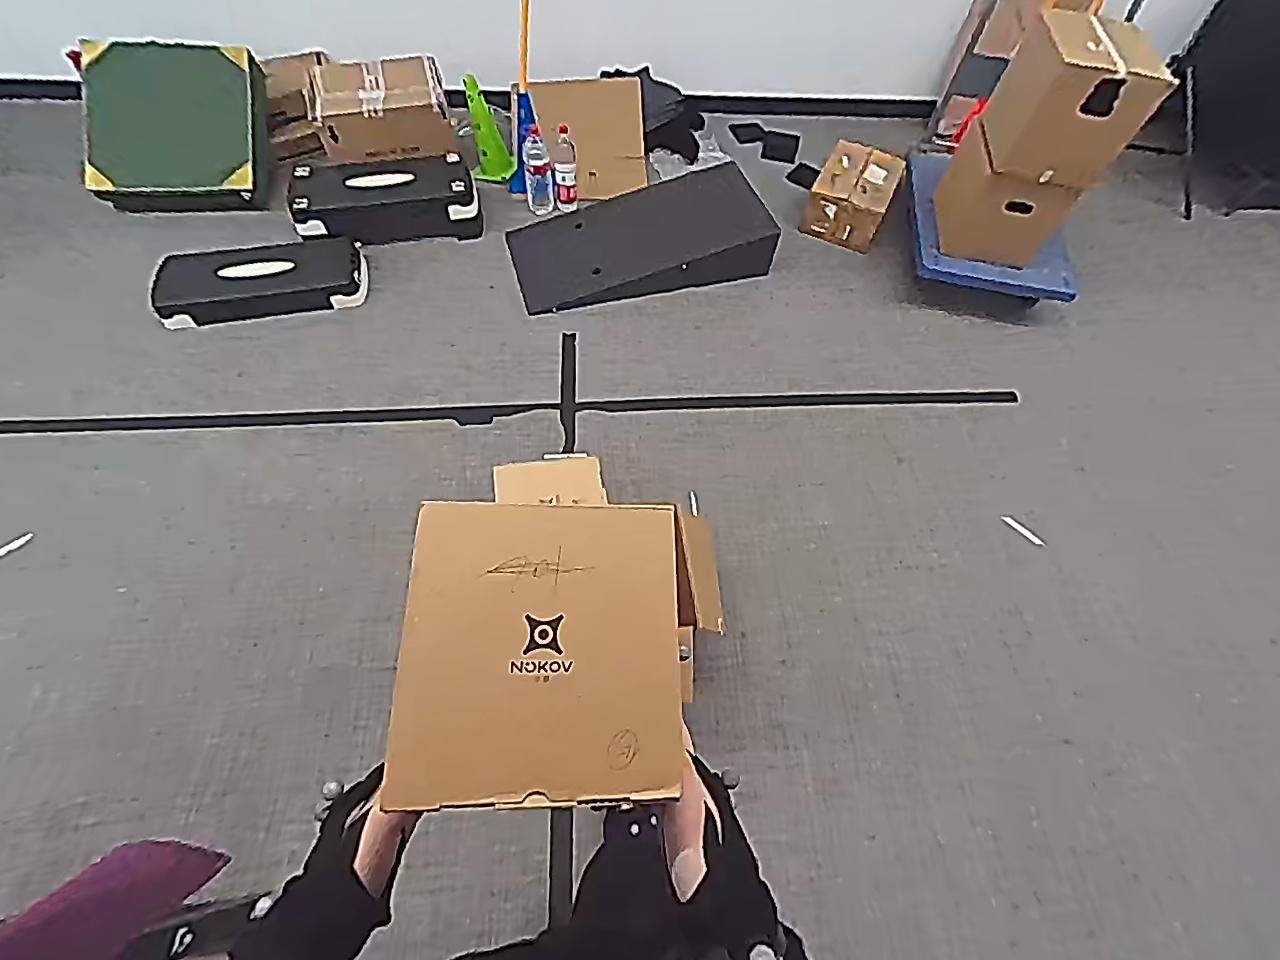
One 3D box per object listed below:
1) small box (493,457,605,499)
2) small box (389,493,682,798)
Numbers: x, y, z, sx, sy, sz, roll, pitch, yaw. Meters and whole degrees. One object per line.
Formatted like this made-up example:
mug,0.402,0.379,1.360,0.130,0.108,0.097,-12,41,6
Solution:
small box,-0.149,0.078,0.928,0.179,0.176,0.168,-6,64,-11
small box,-0.063,0.120,0.402,0.168,0.176,0.179,2,69,-6
